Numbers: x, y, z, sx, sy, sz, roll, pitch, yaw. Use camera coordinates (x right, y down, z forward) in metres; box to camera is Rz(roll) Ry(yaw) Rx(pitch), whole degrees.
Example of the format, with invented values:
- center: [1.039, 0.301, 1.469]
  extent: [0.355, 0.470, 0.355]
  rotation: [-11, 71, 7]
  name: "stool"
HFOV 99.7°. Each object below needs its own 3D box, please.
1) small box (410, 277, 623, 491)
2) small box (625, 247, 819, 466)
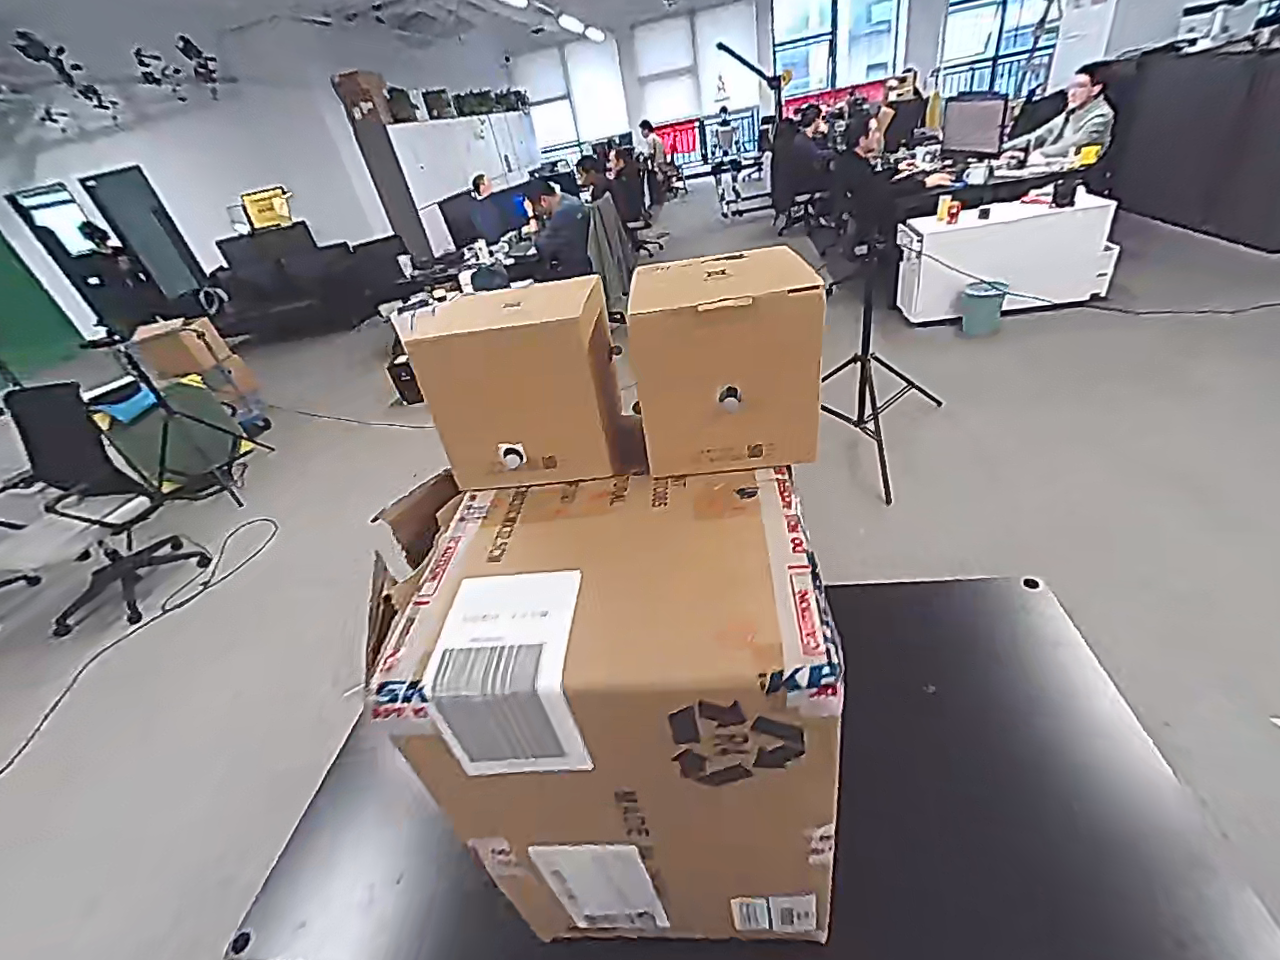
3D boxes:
- center: [-0.115, -0.108, 0.592]
  extent: [0.168, 0.176, 0.179]
  rotation: [-7, 32, 6]
  name: "small box"
- center: [0.082, -0.125, 0.560]
  extent: [0.168, 0.176, 0.179]
  rotation: [-5, 34, 6]
  name: "small box"
